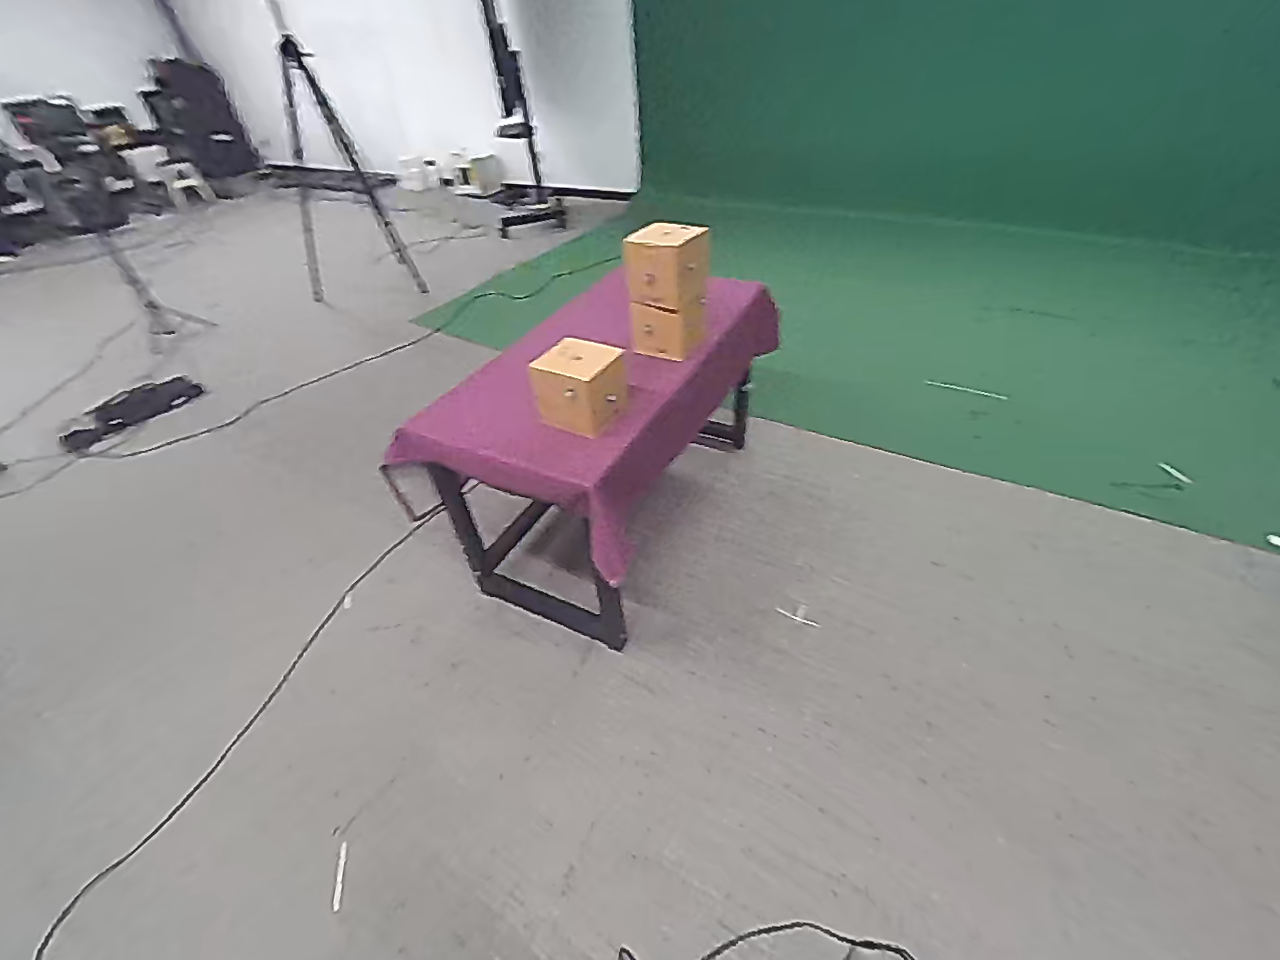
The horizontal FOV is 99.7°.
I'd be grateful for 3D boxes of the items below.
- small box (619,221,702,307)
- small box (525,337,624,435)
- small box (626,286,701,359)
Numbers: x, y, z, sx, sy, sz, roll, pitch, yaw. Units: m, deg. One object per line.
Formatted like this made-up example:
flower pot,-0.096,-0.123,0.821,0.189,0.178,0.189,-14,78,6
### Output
small box,0.065,-0.599,1.499,0.168,0.176,0.179,21,48,27
small box,-0.154,-0.232,1.353,0.179,0.176,0.168,18,46,25
small box,0.078,-0.481,1.613,0.168,0.176,0.179,17,46,24
